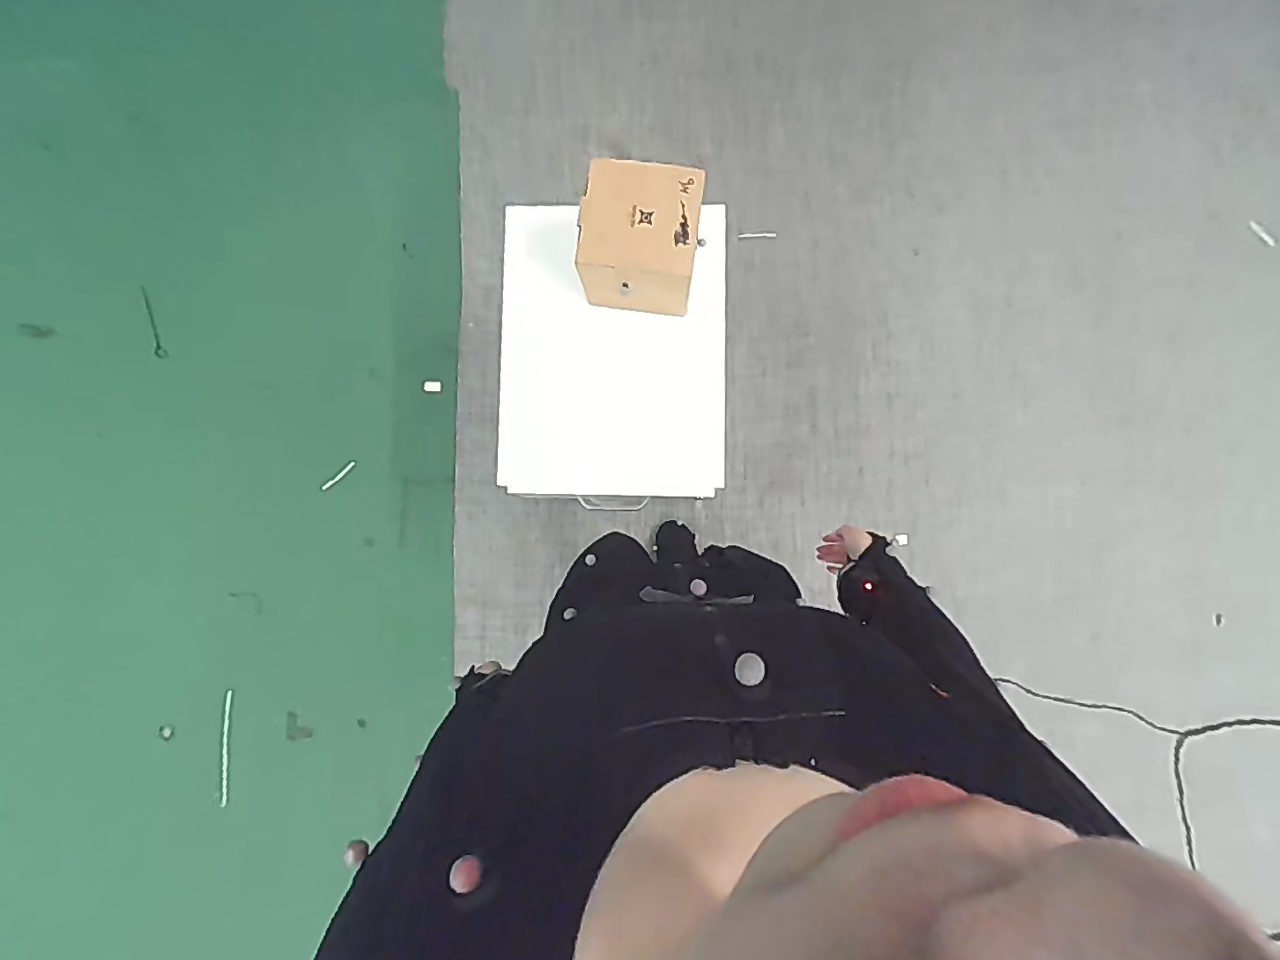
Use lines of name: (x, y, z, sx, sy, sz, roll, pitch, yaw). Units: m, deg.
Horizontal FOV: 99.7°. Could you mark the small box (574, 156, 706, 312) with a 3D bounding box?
small box: (0.004, -0.385, 0.873, 0.179, 0.176, 0.168, 8, 87, 3)
